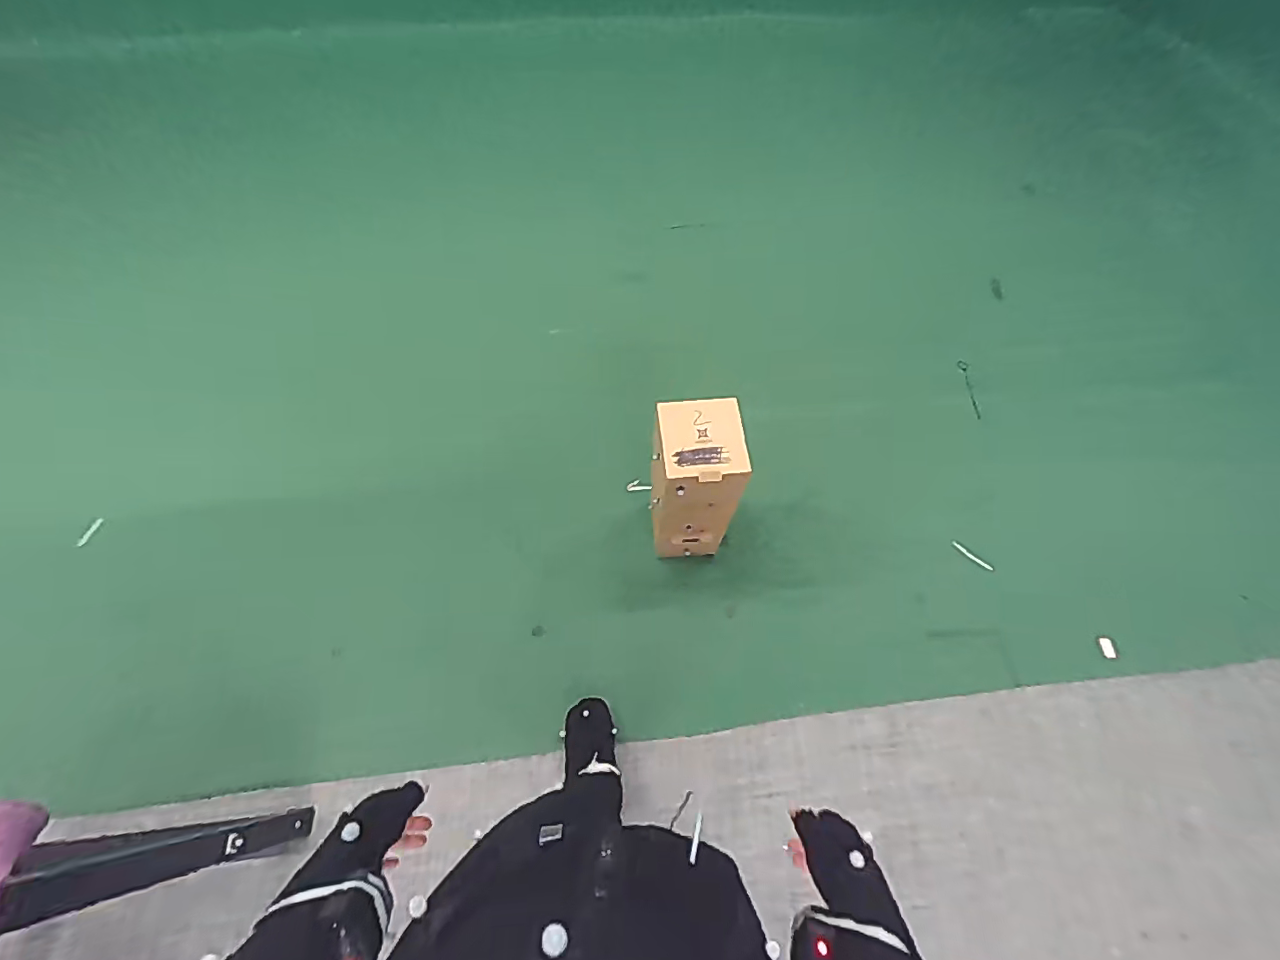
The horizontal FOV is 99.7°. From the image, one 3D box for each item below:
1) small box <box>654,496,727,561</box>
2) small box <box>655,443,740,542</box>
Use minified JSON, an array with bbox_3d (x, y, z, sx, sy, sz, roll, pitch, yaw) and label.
[{"bbox_3d":[0.127,0.103,1.428,0.168,0.176,0.179,-4,64,-2],"label":"small box"},{"bbox_3d":[0.127,0.032,1.282,0.168,0.176,0.179,-5,65,-4],"label":"small box"}]
